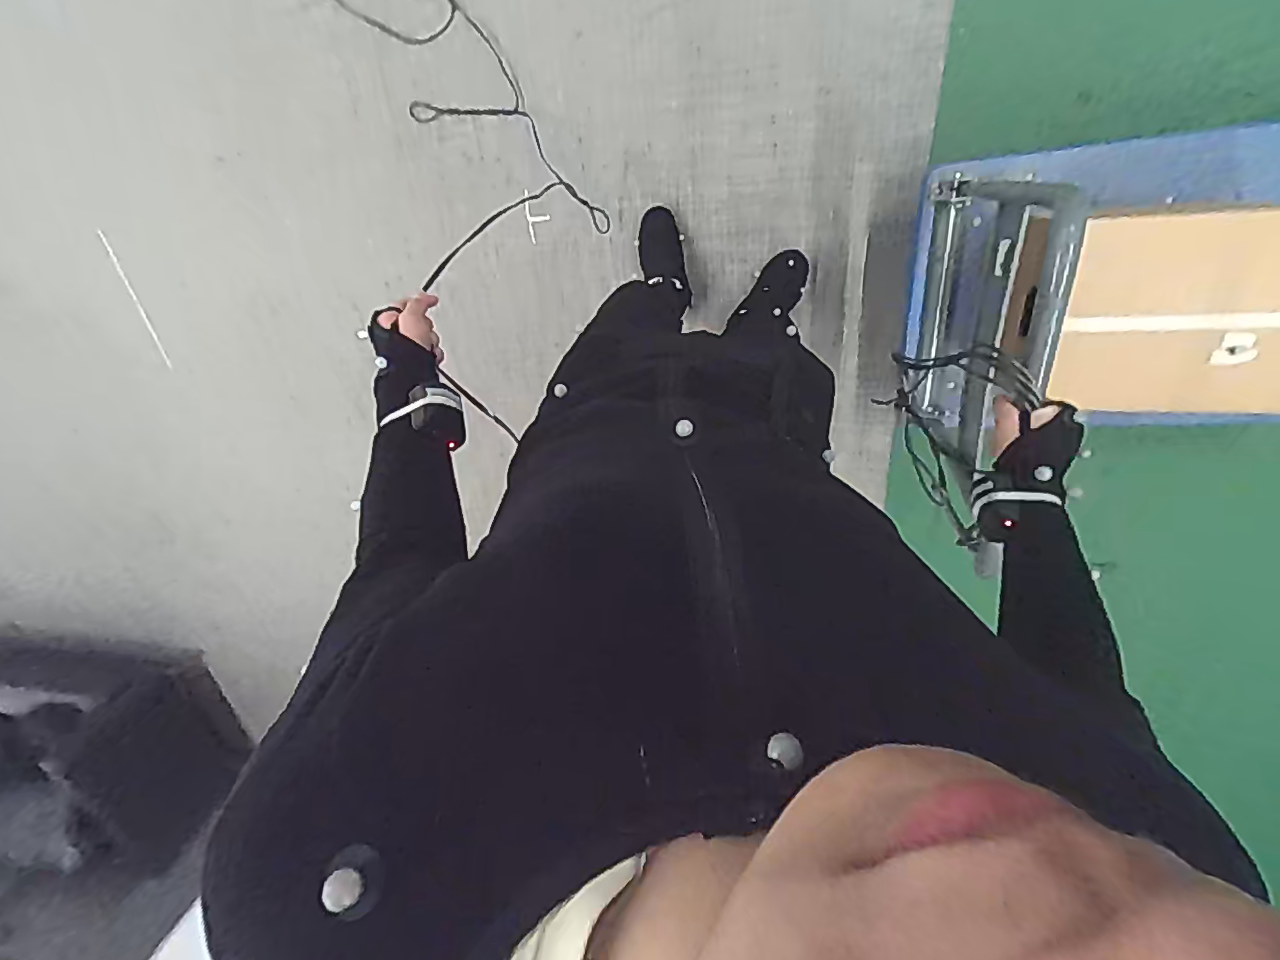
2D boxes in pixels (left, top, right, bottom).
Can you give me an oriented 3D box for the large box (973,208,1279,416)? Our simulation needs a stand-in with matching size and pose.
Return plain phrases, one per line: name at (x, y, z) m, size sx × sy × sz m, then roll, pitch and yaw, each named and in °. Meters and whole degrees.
large box at (0.904, -0.315, 0.991) m, size 0.408 × 0.320 × 0.320 m, roll 2°, pitch 118°, yaw 11°
